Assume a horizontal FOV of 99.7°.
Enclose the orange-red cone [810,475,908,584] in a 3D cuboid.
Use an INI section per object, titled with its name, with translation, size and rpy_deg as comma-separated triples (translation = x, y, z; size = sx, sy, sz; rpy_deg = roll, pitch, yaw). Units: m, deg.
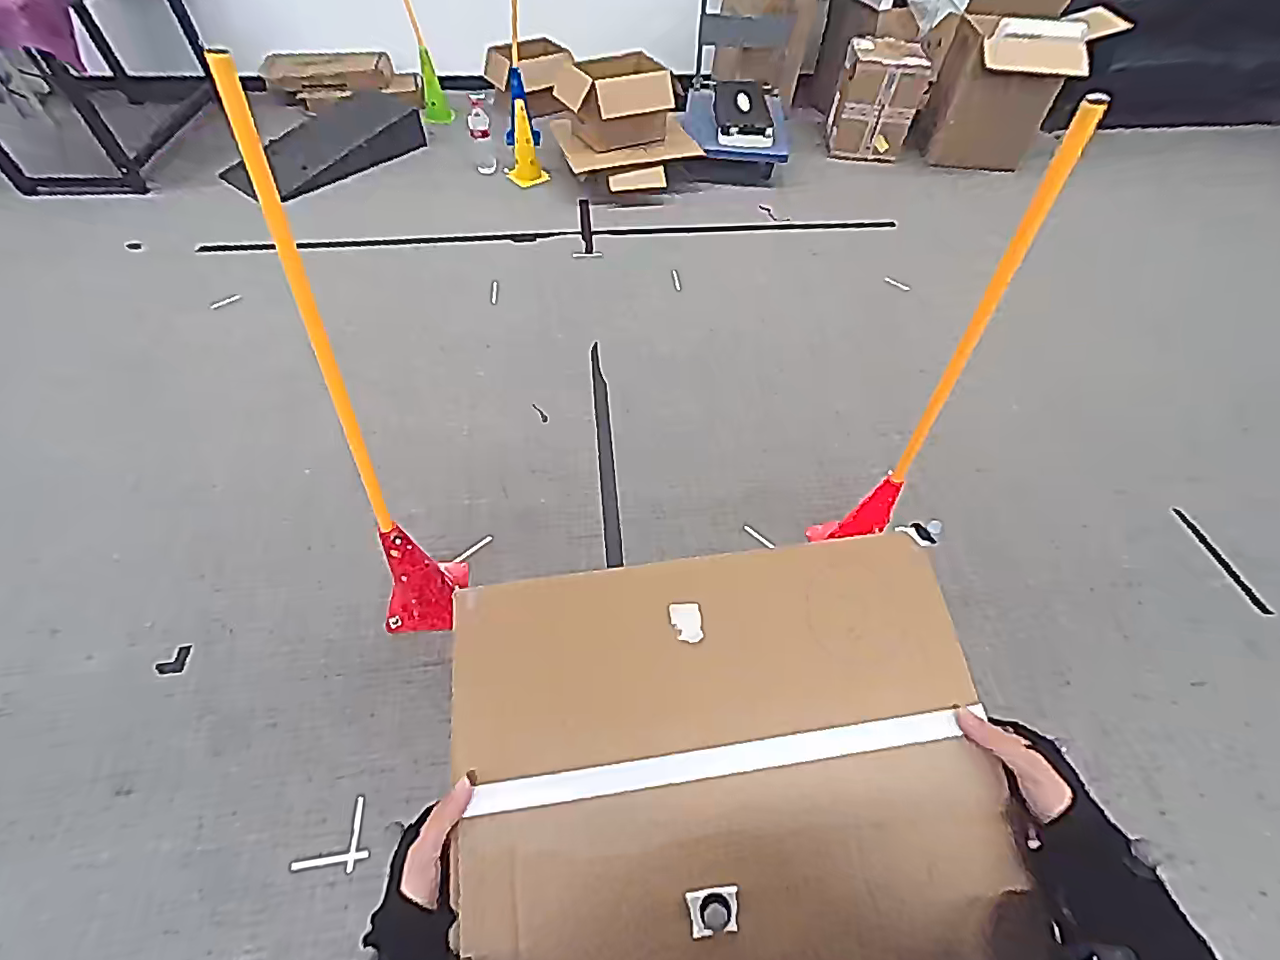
[orange-red cone]
translation = 0.632, 0.104, 1.464
size = 0.199, 0.360, 0.198
rpy_deg = -11, 55, -12
